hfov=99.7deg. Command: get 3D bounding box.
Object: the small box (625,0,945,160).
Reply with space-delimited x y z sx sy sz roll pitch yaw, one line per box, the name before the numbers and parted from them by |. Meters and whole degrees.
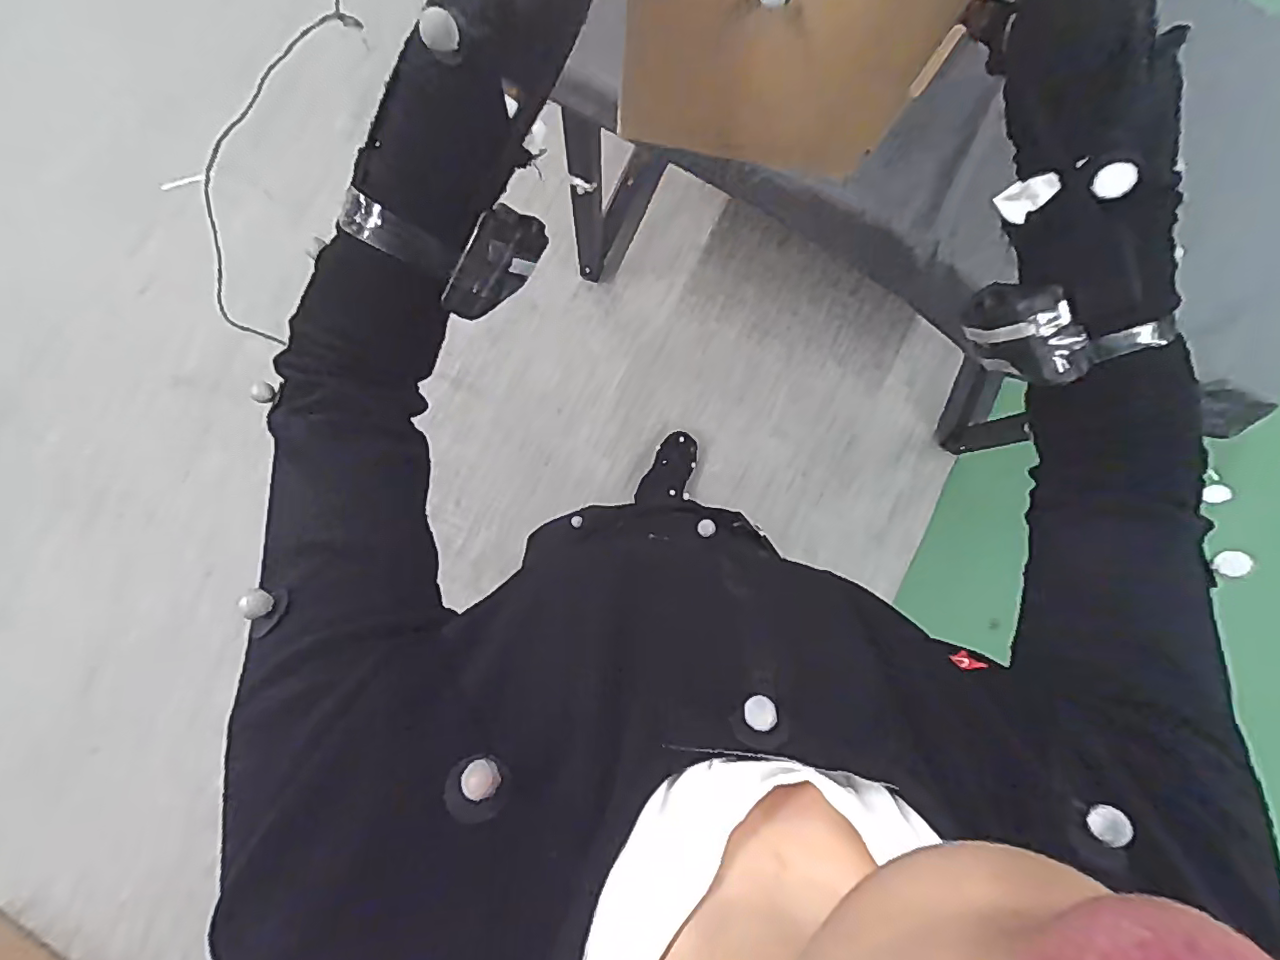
small box | 0.090 -0.335 0.332 0.179 0.176 0.168 8 83 -6
